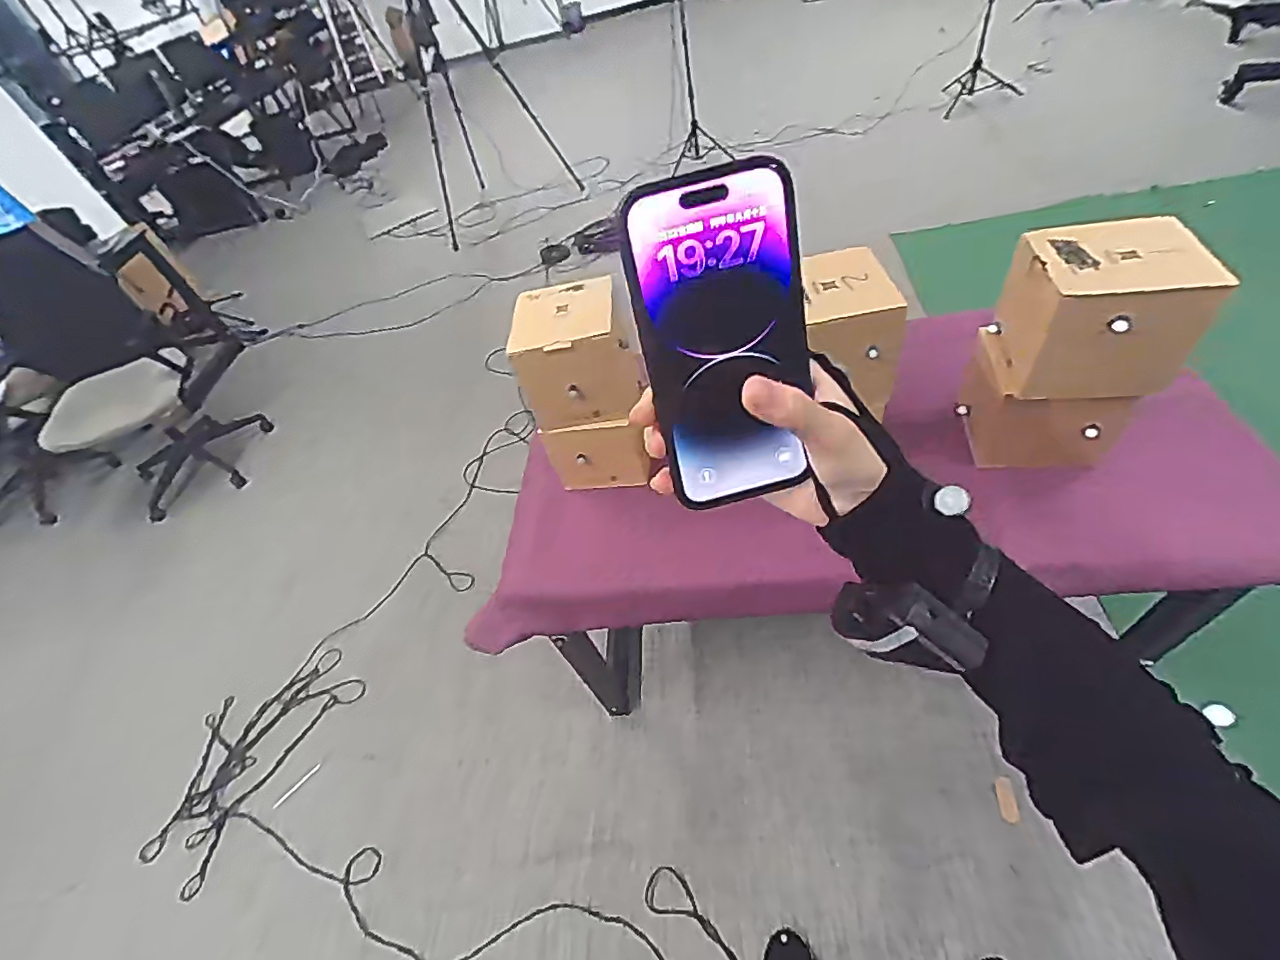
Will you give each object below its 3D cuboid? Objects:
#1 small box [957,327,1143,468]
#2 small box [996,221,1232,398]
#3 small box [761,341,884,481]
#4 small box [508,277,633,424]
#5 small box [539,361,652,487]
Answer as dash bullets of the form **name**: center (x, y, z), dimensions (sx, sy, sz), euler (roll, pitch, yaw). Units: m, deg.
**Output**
- **small box**: center (0.638, -0.131, 0.869), dimensions (0.179, 0.176, 0.168), euler (0, 50, 16)
- **small box**: center (0.613, -0.225, 0.736), dimensions (0.179, 0.176, 0.168), euler (0, 50, 15)
- **small box**: center (0.307, -0.115, 0.943), dimensions (0.179, 0.176, 0.168), euler (-5, 49, 11)
- **small box**: center (-0.107, -0.210, 0.916), dimensions (0.168, 0.176, 0.179), euler (-8, 49, 8)
- **small box**: center (-0.074, -0.099, 1.033), dimensions (0.168, 0.176, 0.179), euler (-4, 49, 12)
